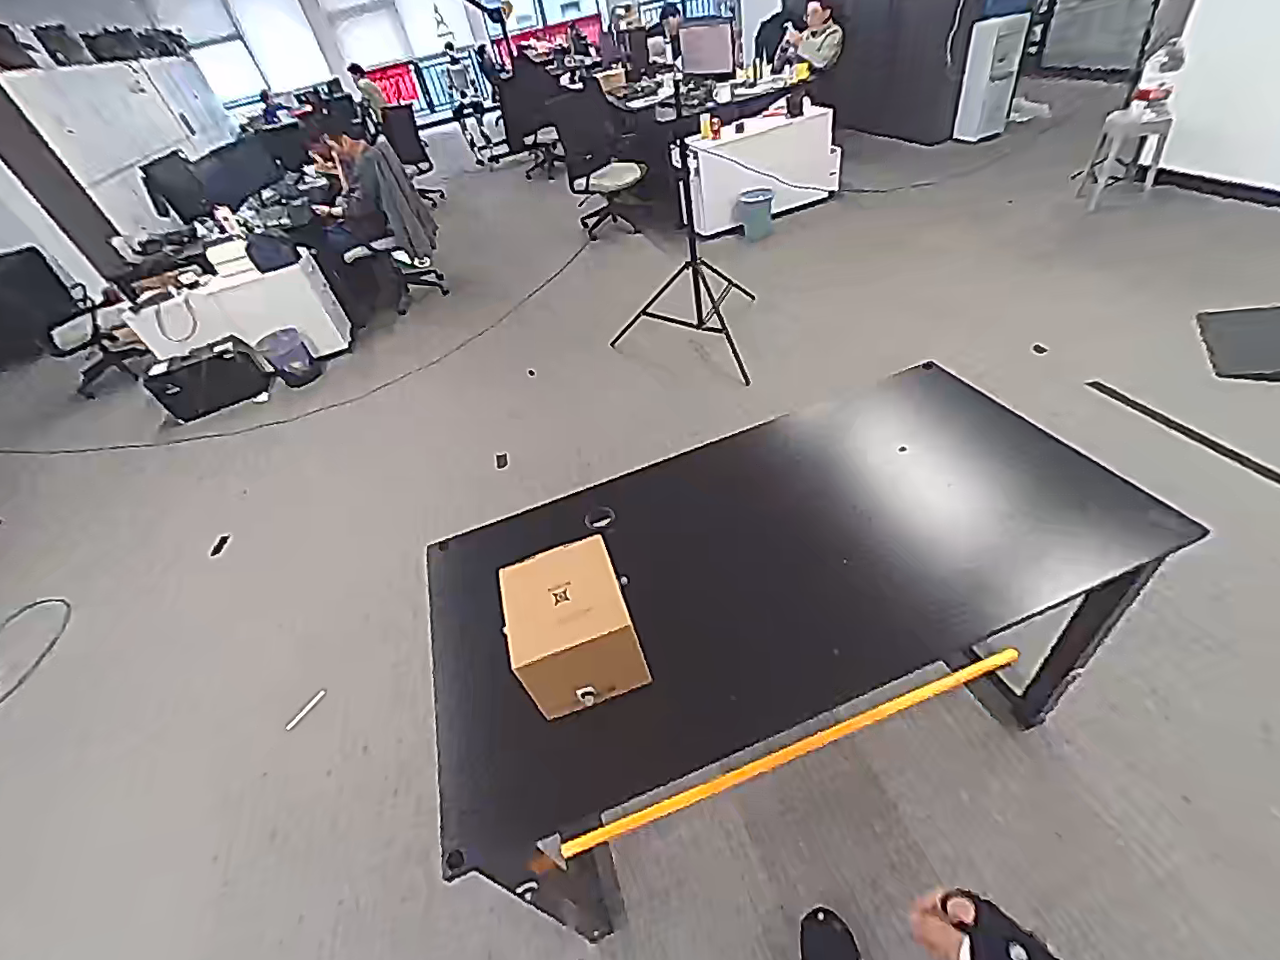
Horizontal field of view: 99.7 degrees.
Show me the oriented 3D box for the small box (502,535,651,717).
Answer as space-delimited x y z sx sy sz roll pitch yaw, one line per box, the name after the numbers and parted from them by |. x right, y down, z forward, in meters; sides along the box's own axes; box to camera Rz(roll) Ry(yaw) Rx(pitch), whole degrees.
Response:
-0.094 0.221 0.817 0.168 0.176 0.179 -20 43 -6 | small box
